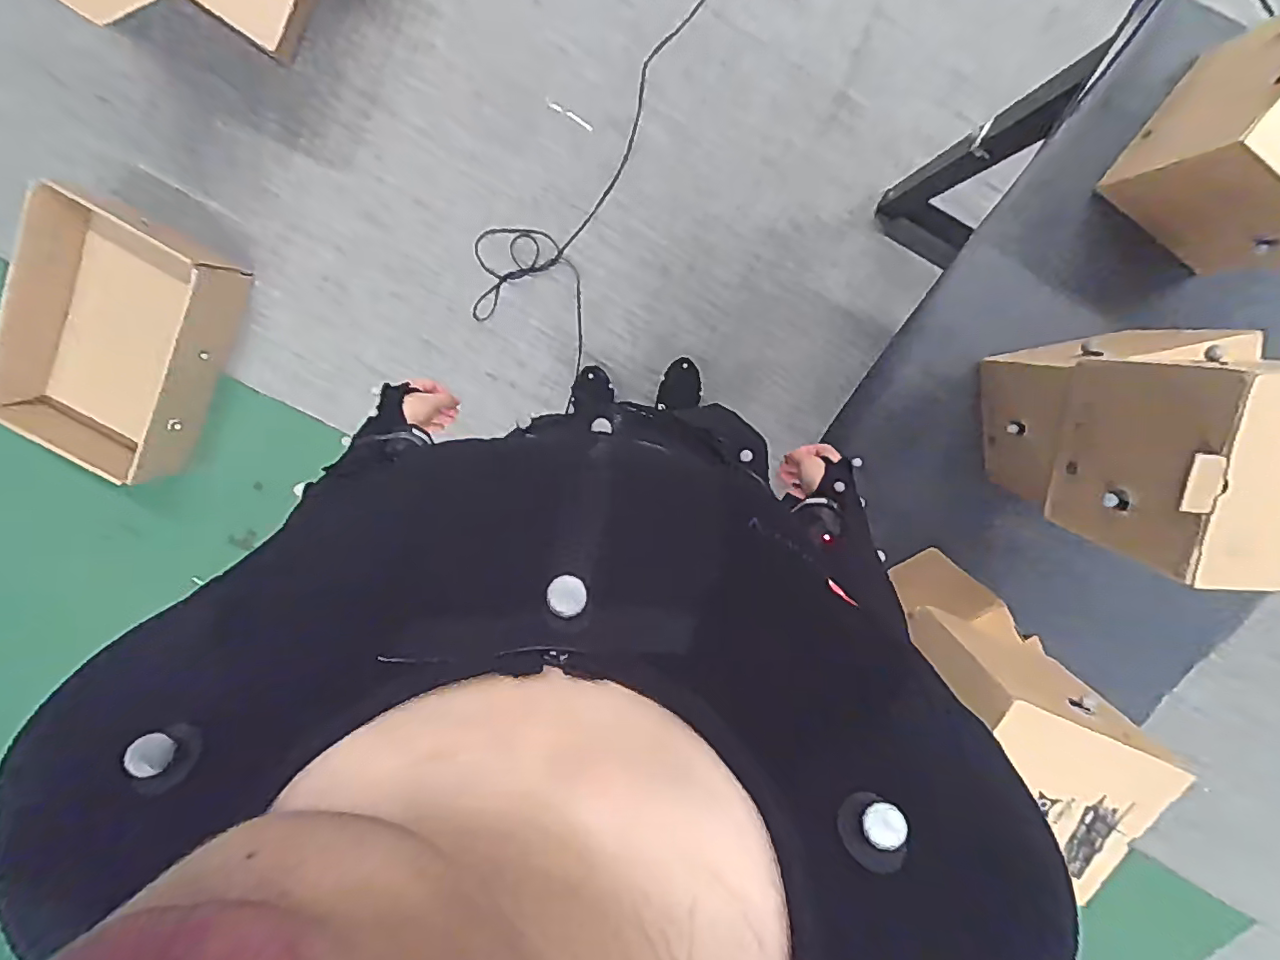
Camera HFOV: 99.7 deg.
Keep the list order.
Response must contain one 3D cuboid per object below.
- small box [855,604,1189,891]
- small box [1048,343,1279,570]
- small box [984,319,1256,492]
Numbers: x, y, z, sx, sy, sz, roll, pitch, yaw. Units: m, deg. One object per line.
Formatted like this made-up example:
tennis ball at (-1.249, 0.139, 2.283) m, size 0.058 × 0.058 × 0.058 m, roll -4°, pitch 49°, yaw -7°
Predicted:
small box at (0.355, 0.251, 0.544) m, size 0.179 × 0.176 × 0.168 m, roll 23°, pitch 103°, yaw -4°
small box at (0.504, -0.030, 0.468) m, size 0.179 × 0.176 × 0.168 m, roll 0°, pitch 106°, yaw 1°
small box at (0.524, -0.082, 0.622) m, size 0.179 × 0.176 × 0.168 m, roll -11°, pitch 105°, yaw 5°
